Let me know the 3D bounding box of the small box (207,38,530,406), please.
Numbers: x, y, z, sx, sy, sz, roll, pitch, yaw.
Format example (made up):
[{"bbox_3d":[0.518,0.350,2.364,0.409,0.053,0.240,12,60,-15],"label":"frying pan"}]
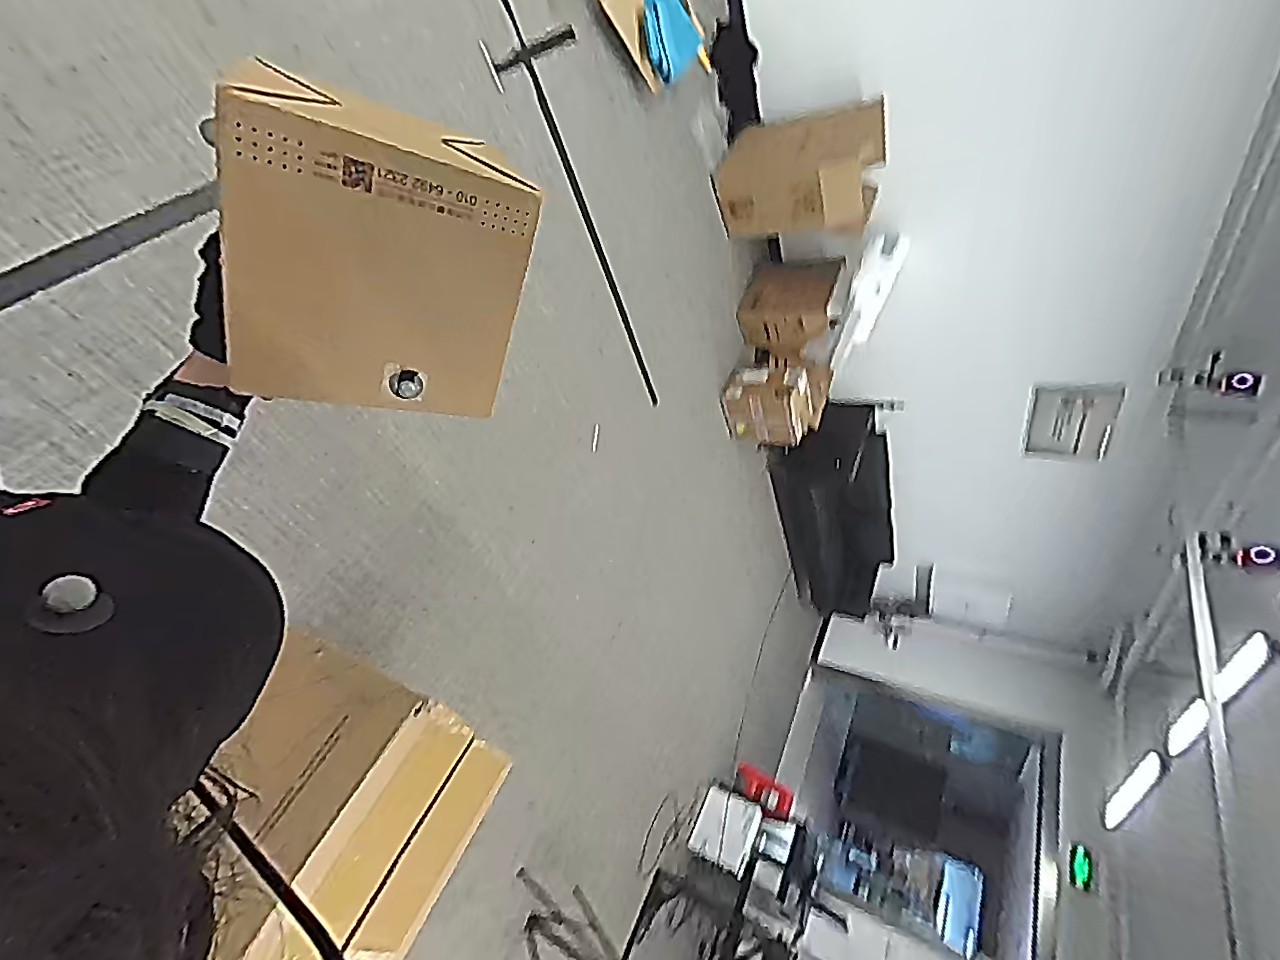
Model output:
[{"bbox_3d":[-0.190,-0.176,0.383,0.168,0.179,0.176,2,128,-32],"label":"small box"}]
